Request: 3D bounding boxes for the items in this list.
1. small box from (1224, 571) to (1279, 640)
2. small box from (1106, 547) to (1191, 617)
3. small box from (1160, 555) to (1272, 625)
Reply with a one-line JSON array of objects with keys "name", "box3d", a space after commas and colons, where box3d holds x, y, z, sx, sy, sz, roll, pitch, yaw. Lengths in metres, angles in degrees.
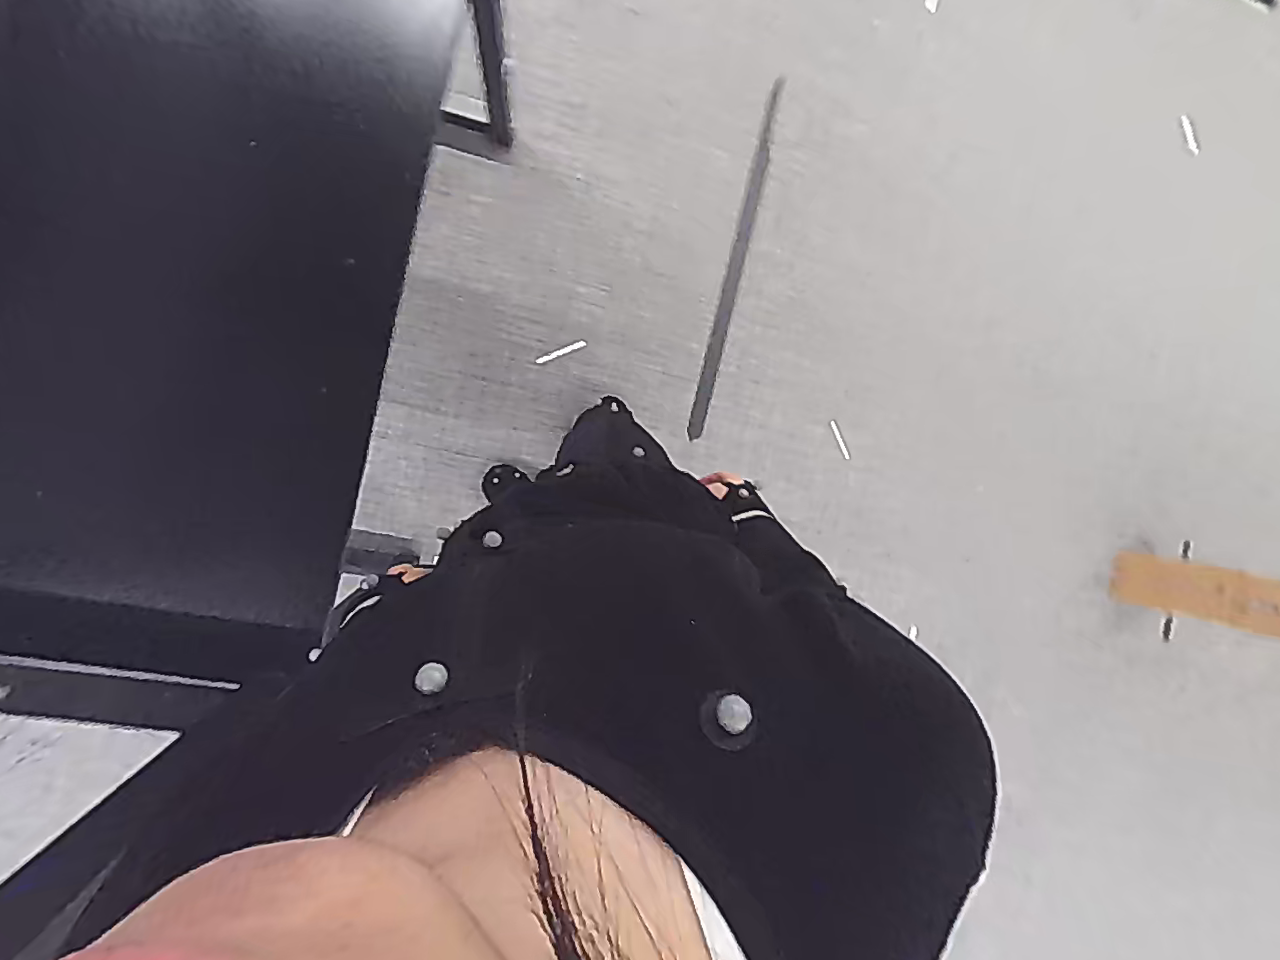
[{"name": "small box", "box3d": [1.768, 0.356, 1.474, 0.179, 0.176, 0.168, 14, 90, -11]}, {"name": "small box", "box3d": [1.706, 0.336, 1.795, 0.168, 0.176, 0.179, 12, 91, -11]}, {"name": "small box", "box3d": [1.736, 0.337, 1.633, 0.168, 0.176, 0.179, 15, 90, -11]}]
